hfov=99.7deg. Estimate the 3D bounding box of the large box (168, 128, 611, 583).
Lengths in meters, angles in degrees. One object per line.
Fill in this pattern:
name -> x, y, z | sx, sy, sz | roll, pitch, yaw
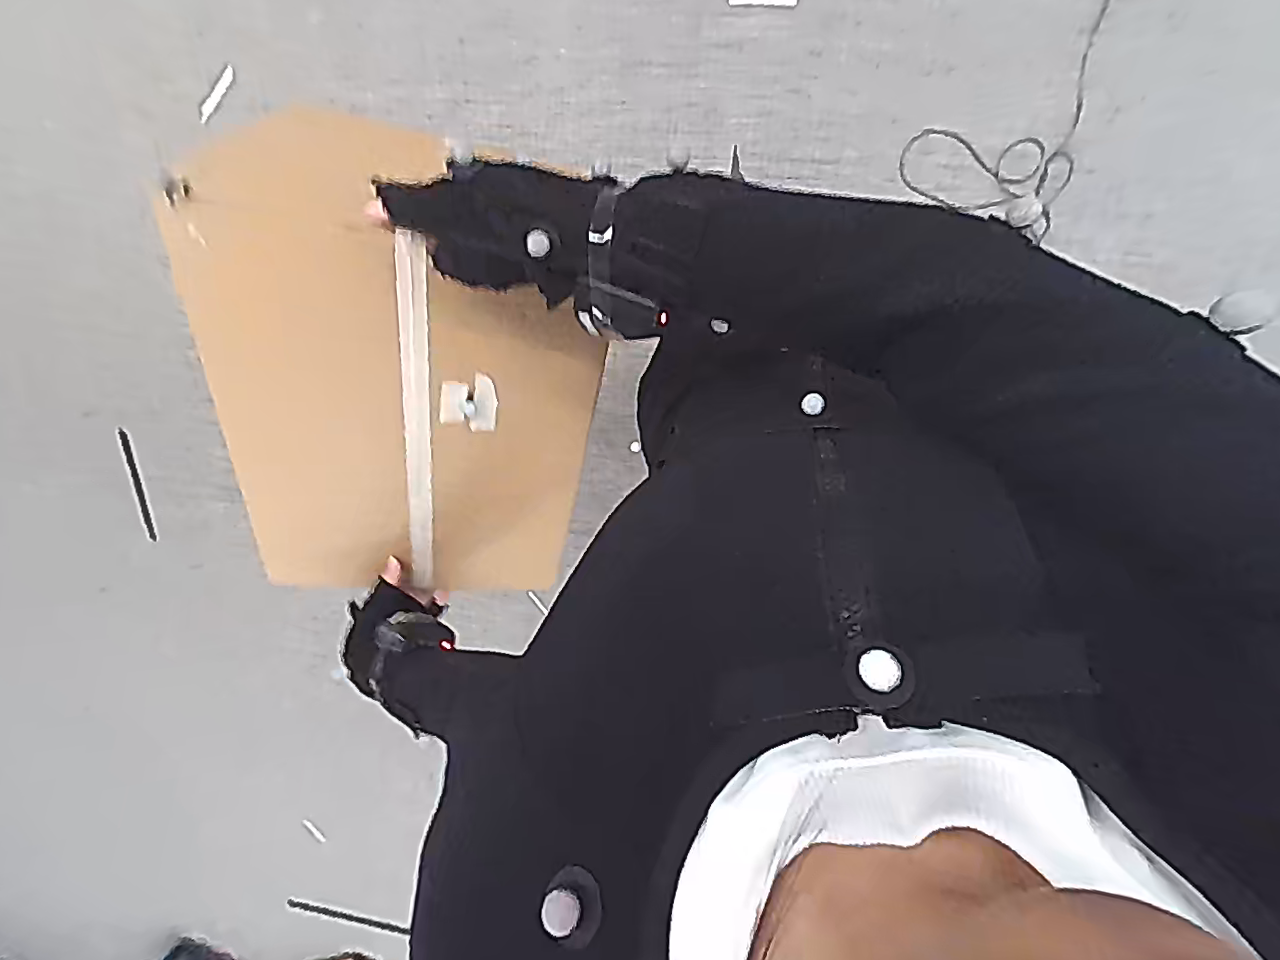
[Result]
large box -> -0.229, -0.129, 0.630 | 0.320, 0.320, 0.408 | 2, 129, -15
